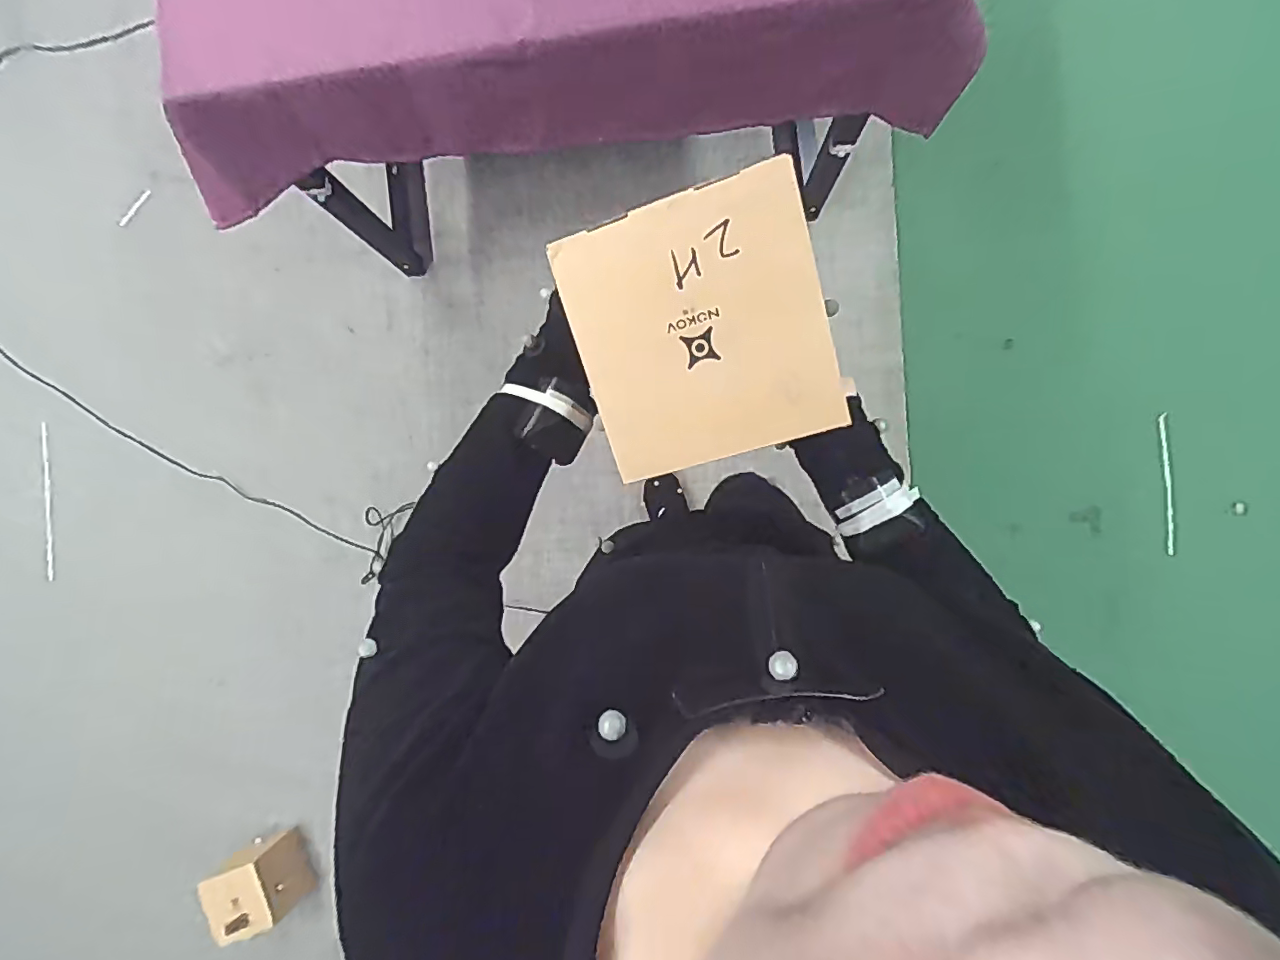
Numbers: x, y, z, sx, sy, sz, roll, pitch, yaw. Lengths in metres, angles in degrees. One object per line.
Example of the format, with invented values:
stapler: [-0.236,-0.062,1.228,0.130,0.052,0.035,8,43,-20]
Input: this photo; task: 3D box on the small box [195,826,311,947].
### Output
small box: [-1.033,1.087,1.459,0.168,0.176,0.179,-22,87,2]

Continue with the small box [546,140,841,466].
small box: [0.049,-0.130,0.439,0.168,0.176,0.179,-15,102,12]
